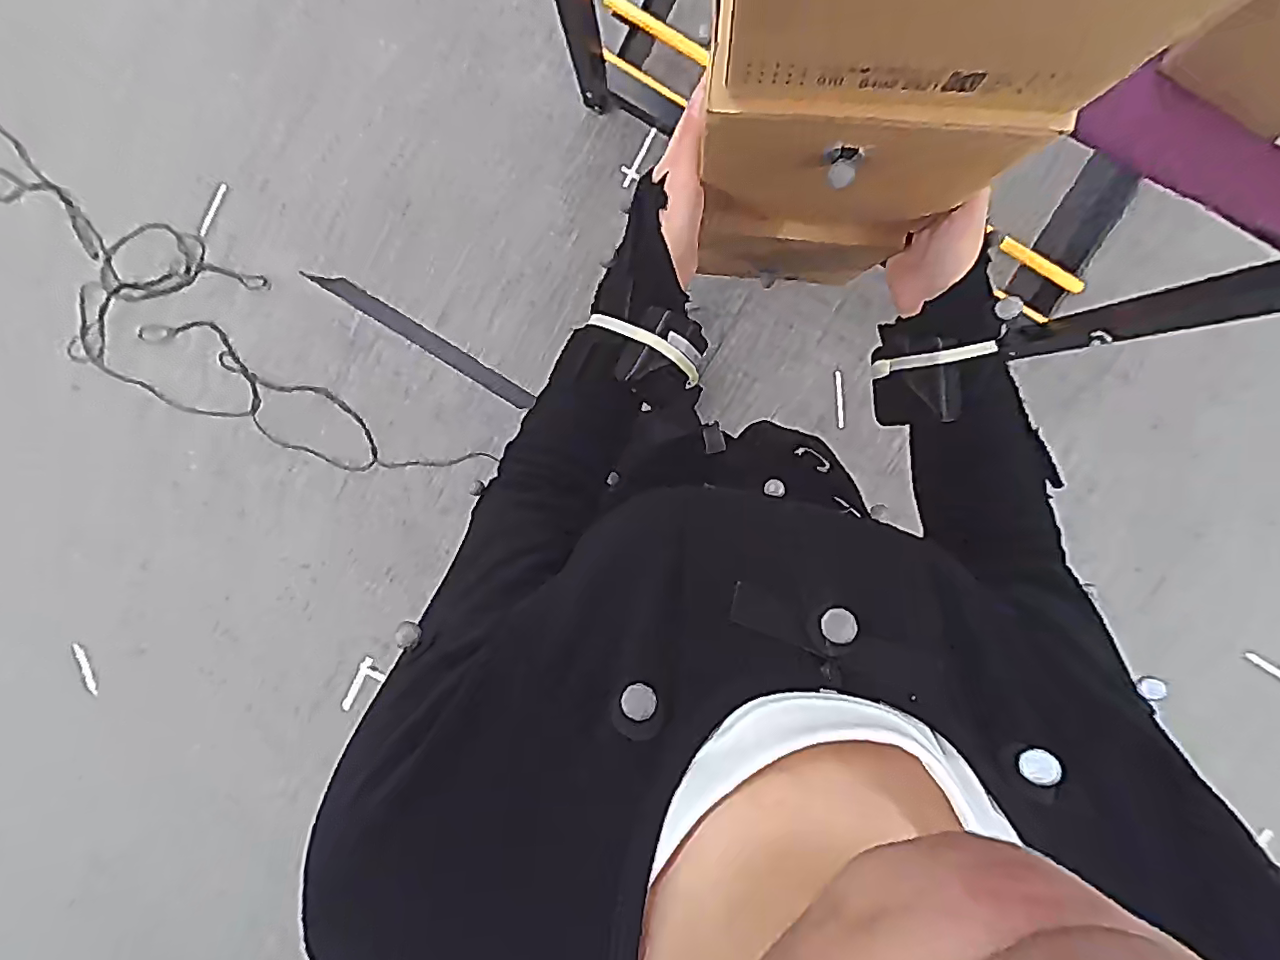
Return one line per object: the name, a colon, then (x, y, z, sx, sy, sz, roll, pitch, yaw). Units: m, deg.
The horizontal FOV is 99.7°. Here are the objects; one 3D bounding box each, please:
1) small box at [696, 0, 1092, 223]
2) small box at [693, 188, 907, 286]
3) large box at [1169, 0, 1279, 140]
small box: (0.130, -0.267, 0.326, 0.179, 0.176, 0.168, 6, 100, 5)
small box: (0.138, -0.287, 0.487, 0.168, 0.176, 0.179, 7, 101, 4)
large box: (0.752, -0.497, 0.388, 0.320, 0.320, 0.408, 30, 96, -1)
